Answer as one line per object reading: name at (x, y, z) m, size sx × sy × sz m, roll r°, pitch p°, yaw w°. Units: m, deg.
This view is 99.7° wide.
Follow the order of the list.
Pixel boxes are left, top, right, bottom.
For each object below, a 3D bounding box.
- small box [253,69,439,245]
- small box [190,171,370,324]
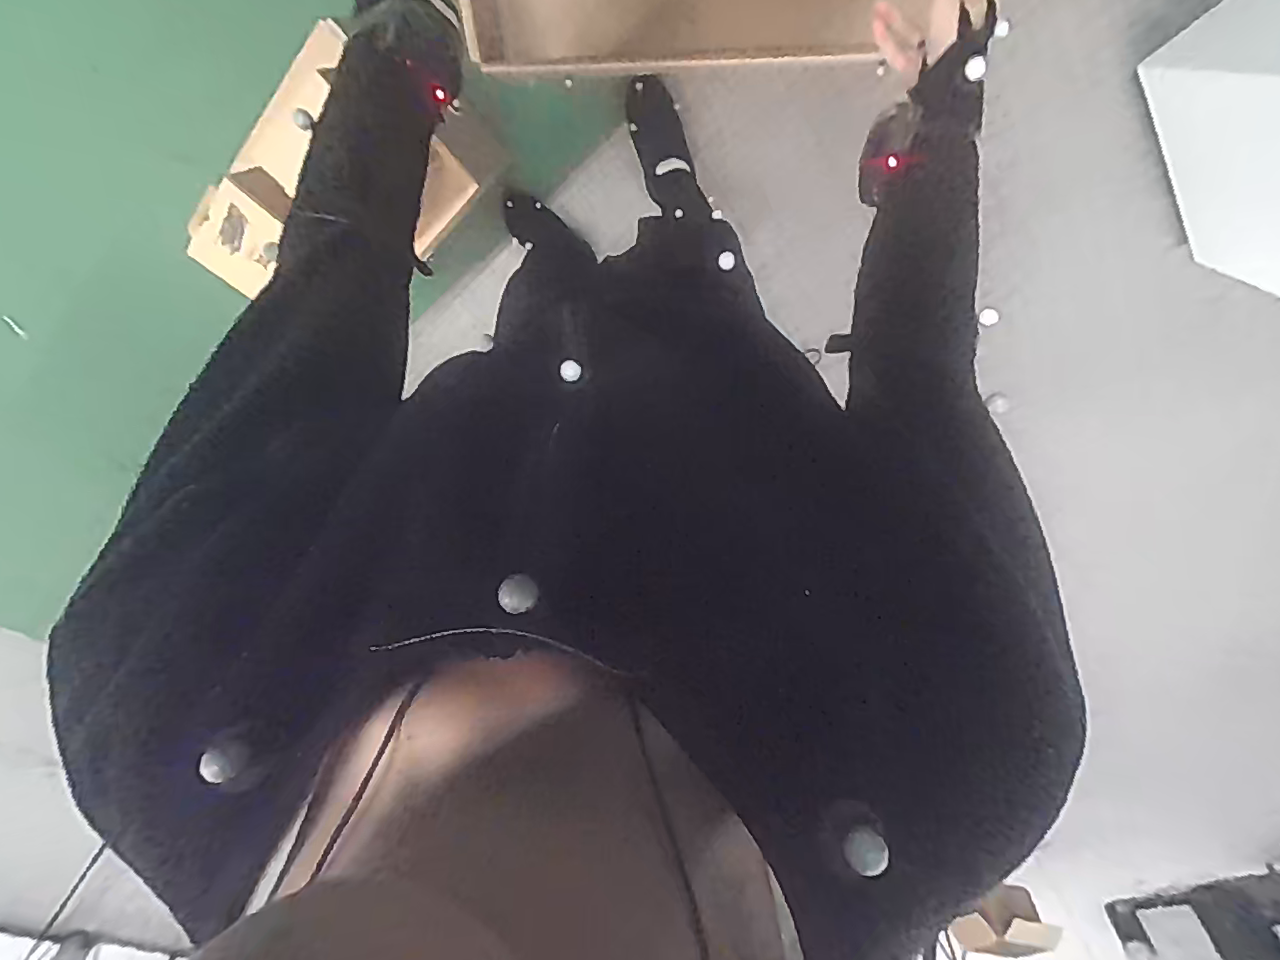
small box at (-0.458, -0.519, 0.871) m, size 0.179 × 0.176 × 0.168 m, roll -29°, pitch 122°, yaw 22°
small box at (-0.625, -0.418, 0.957) m, size 0.168 × 0.176 × 0.179 m, roll -35°, pitch 120°, yaw 26°
